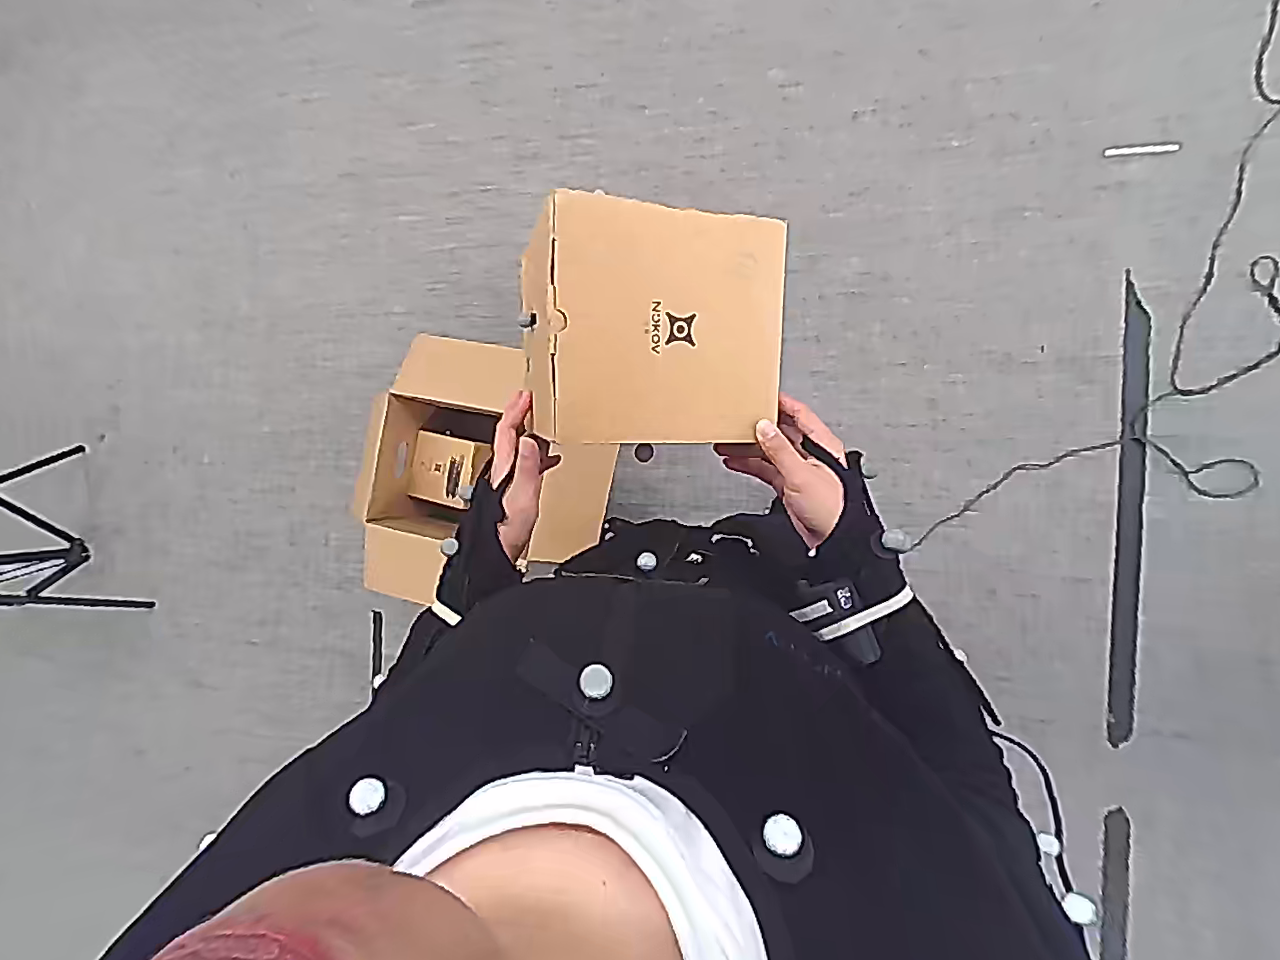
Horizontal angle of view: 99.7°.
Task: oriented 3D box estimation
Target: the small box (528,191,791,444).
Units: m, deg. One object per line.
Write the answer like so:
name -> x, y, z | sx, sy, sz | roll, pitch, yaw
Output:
small box -> 0.003, -0.120, 0.462 | 0.179, 0.176, 0.168 | -1, 99, -18
